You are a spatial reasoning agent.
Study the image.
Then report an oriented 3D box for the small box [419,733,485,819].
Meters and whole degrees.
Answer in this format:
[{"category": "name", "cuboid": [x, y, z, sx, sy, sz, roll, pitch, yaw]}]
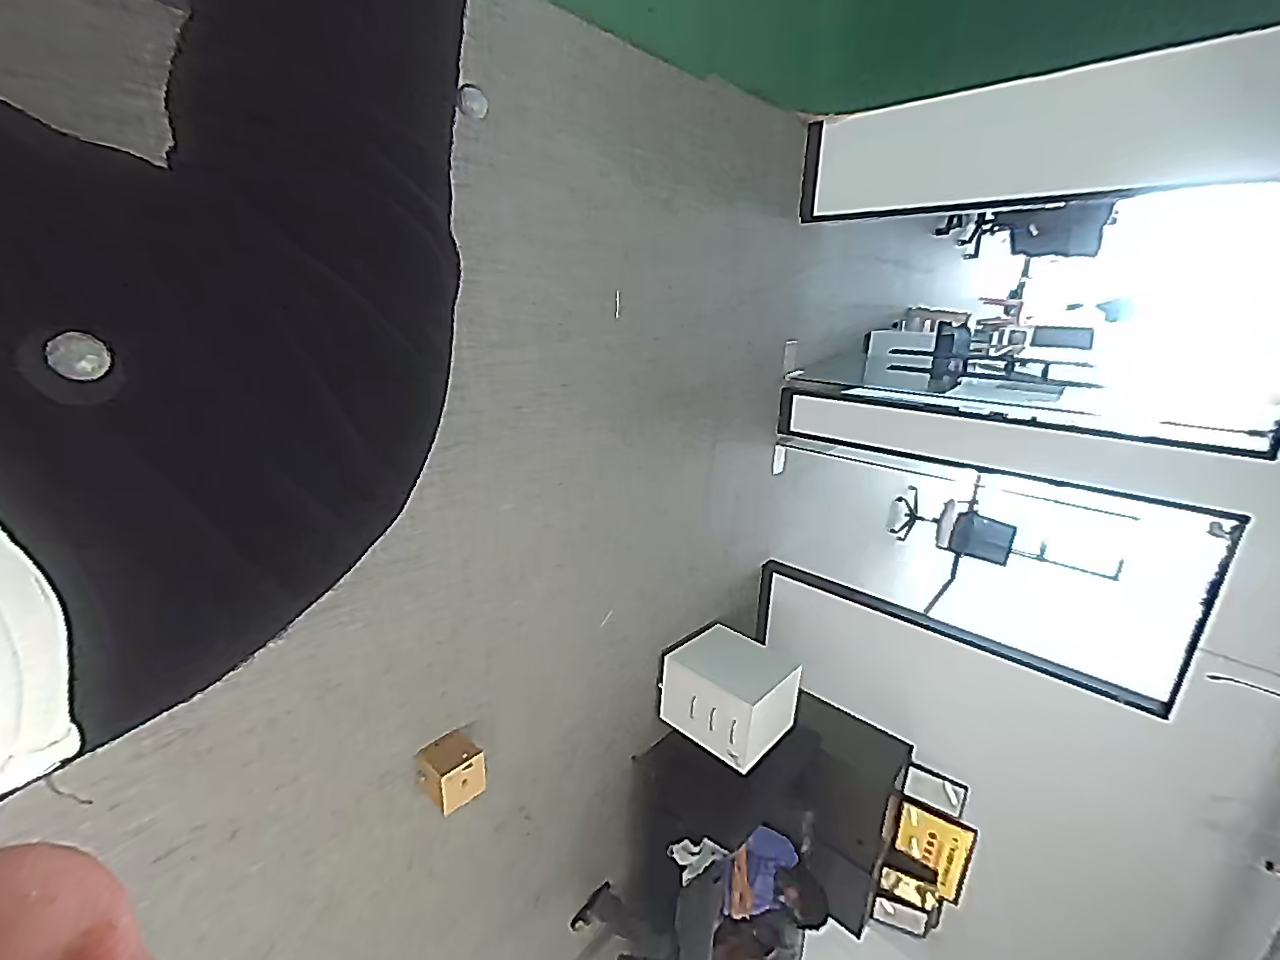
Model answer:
[{"category": "small box", "cuboid": [-0.678, 1.057, 1.946, 0.168, 0.176, 0.179, -16, 115, -47]}]
